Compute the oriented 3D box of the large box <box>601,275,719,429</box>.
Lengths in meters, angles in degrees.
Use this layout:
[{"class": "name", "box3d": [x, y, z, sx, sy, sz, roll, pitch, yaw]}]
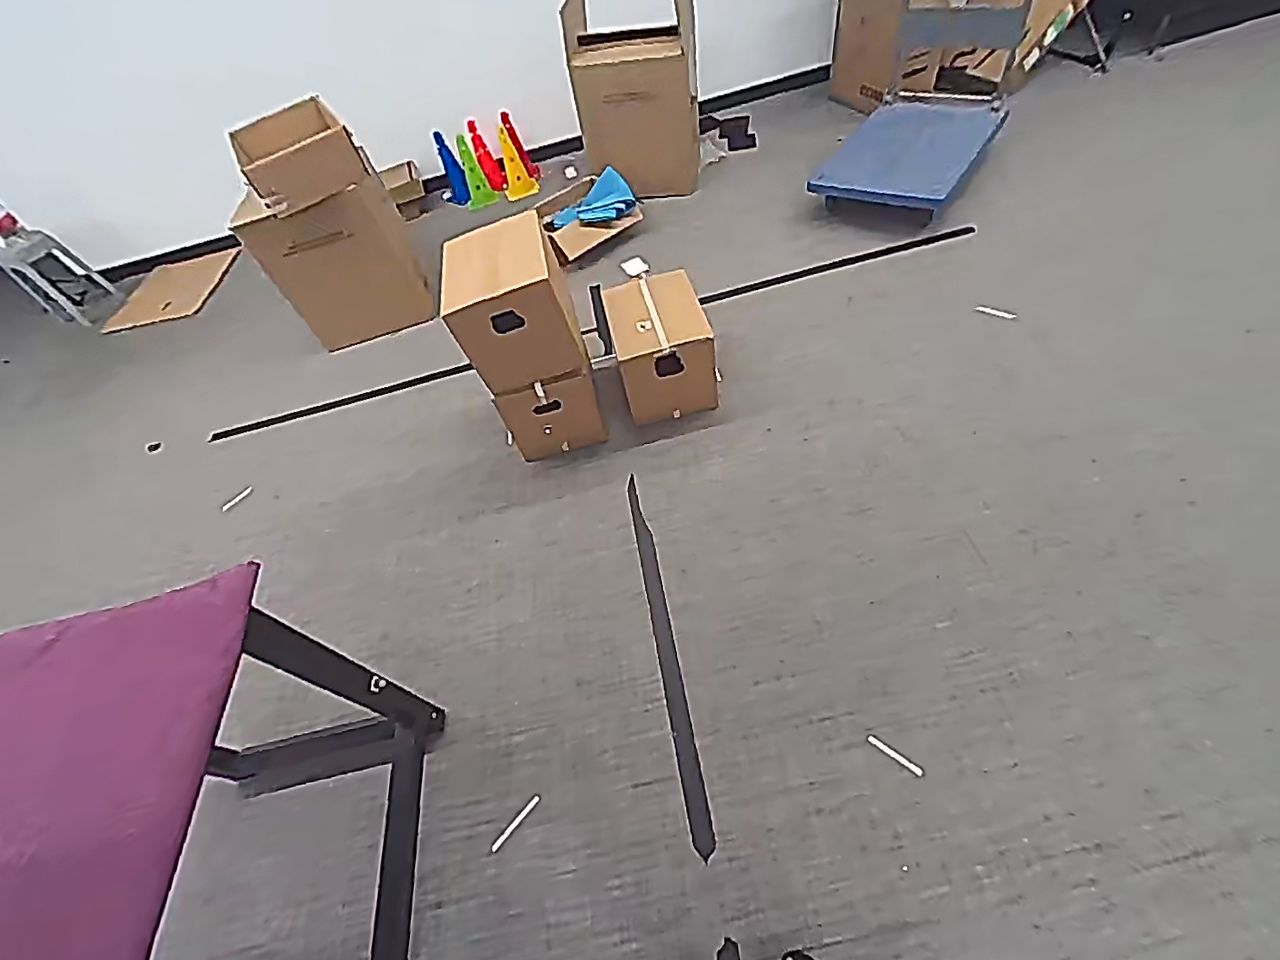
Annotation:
[{"class": "large box", "box3d": [0.074, -0.454, 1.917, 0.320, 0.320, 0.408, -16, 52, 1]}]
